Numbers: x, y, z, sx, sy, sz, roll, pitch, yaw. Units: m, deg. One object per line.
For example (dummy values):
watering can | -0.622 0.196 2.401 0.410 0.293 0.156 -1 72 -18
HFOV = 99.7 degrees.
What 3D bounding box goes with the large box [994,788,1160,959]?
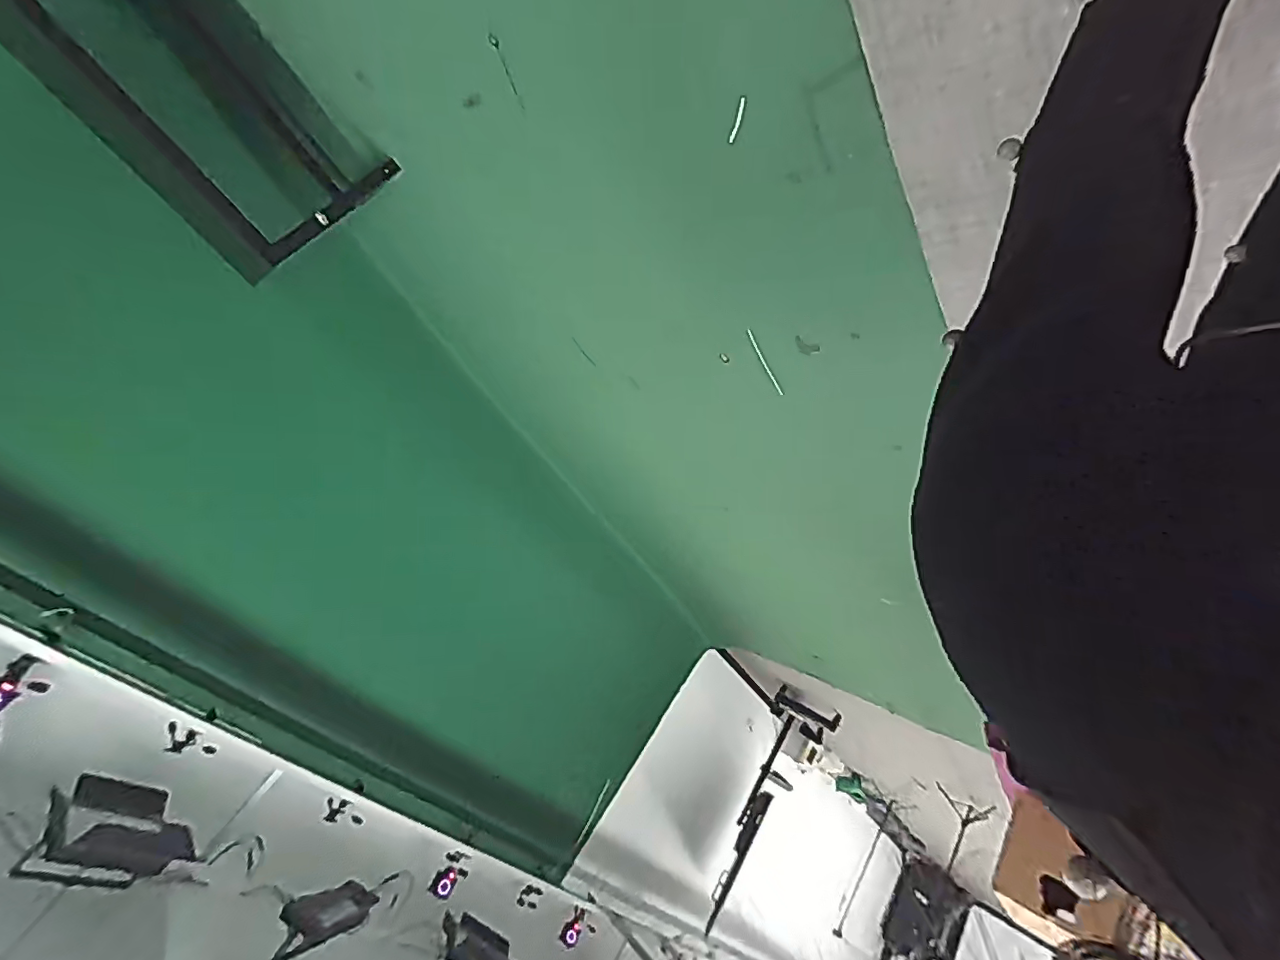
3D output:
large box | 1.335 1.229 1.643 0.320 0.320 0.408 6 141 49
